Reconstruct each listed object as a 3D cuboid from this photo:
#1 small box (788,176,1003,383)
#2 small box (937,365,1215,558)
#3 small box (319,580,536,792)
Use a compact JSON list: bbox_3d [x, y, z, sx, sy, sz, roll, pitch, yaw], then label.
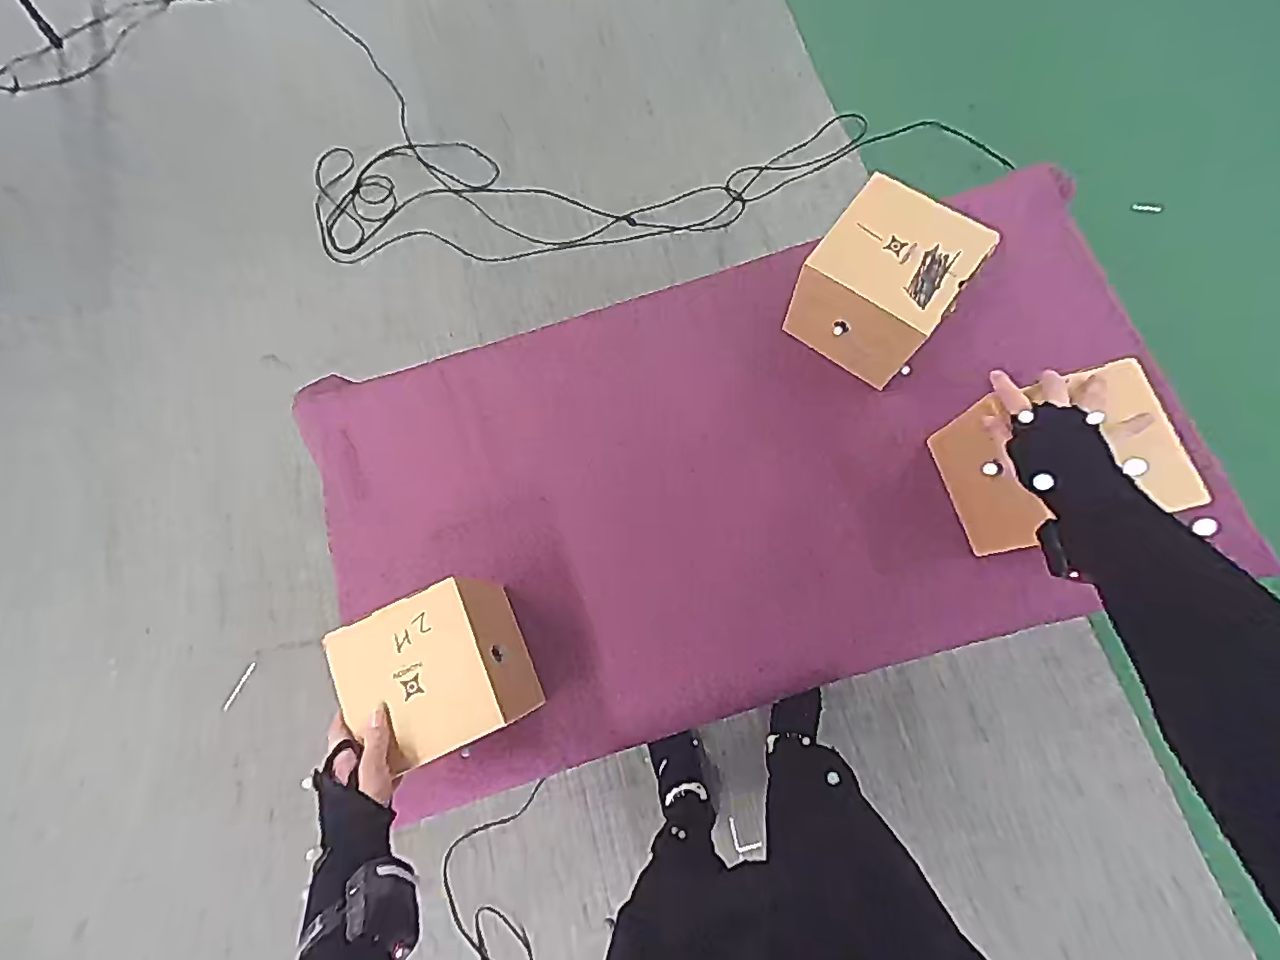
[{"bbox_3d":[0.328,-0.255,0.734,0.179,0.176,0.168,38,82,13],"label":"small box"},{"bbox_3d":[0.501,-0.008,0.656,0.168,0.176,0.179,-14,74,1],"label":"small box"},{"bbox_3d":[-0.245,0.236,0.661,0.168,0.176,0.179,-24,75,-2],"label":"small box"}]
